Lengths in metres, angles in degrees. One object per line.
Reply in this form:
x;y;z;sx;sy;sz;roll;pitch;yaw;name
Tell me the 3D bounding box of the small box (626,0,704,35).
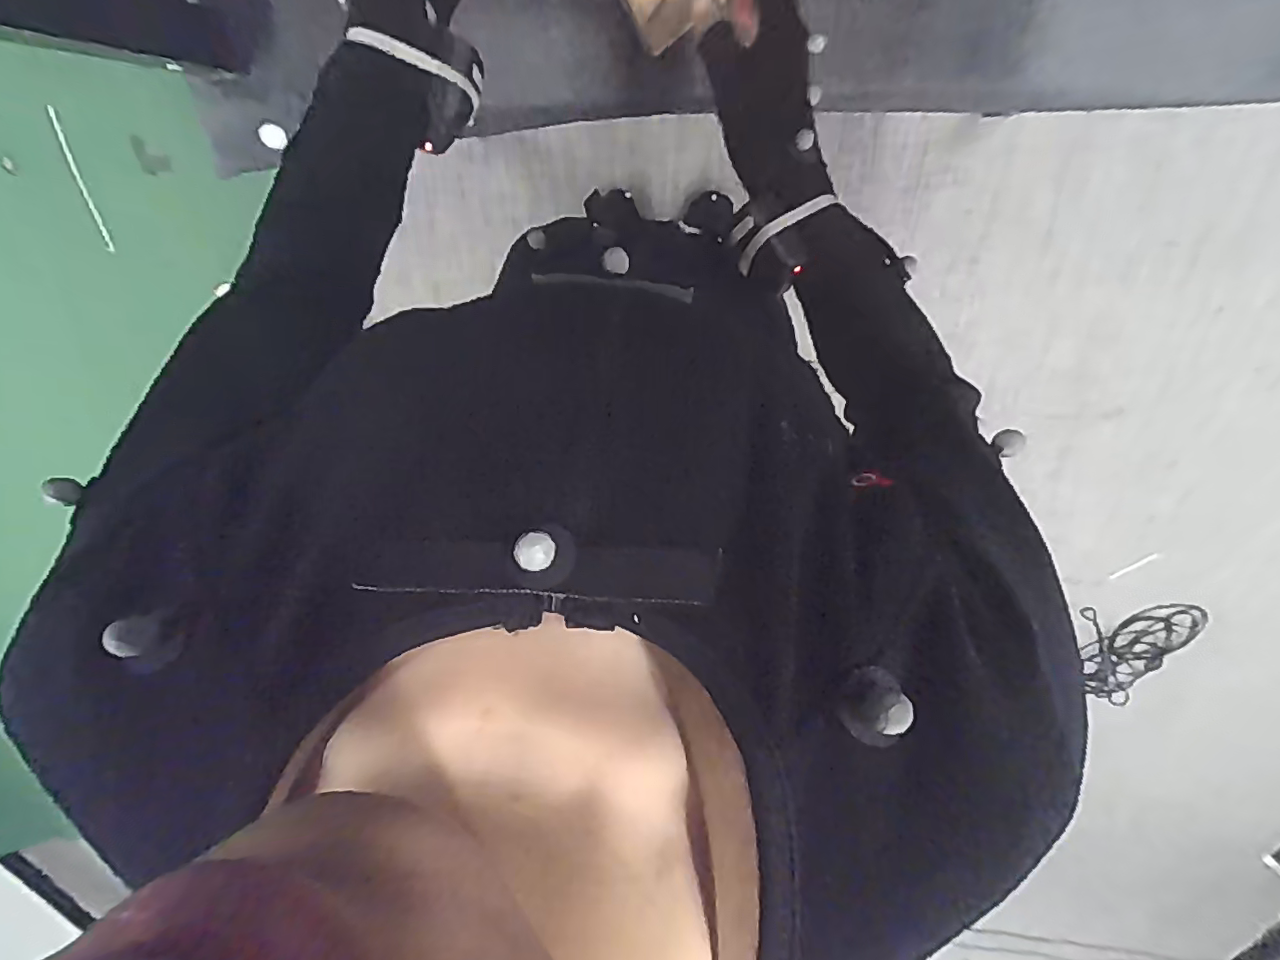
0.024;-0.484;0.396;0.168;0.176;0.179;-29;113;19;small box
